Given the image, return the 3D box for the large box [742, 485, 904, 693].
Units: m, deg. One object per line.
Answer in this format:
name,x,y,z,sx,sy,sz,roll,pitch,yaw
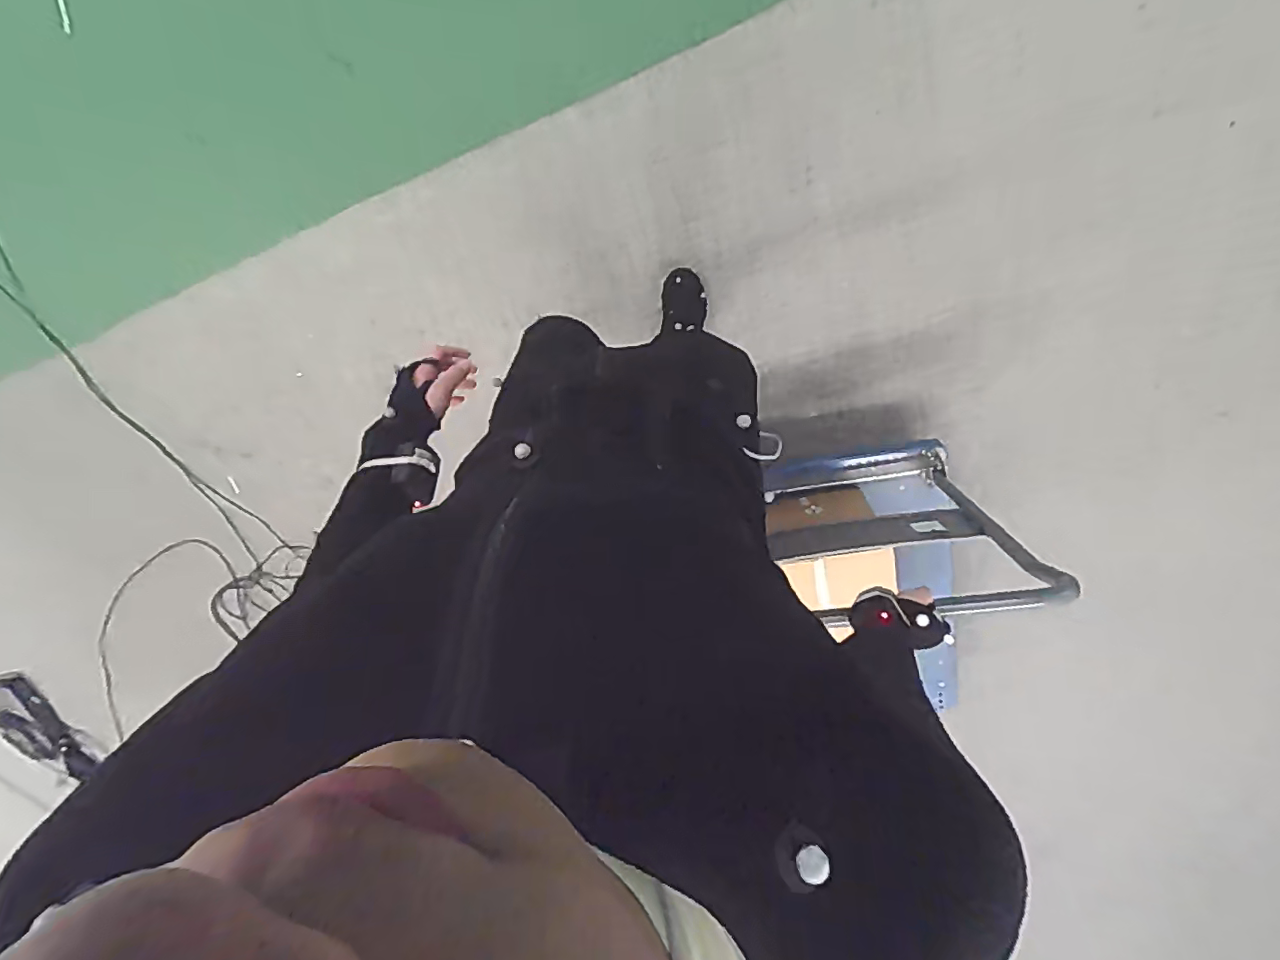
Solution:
large box,0.457,0.272,1.392,0.320,0.320,0.408,-10,111,13
